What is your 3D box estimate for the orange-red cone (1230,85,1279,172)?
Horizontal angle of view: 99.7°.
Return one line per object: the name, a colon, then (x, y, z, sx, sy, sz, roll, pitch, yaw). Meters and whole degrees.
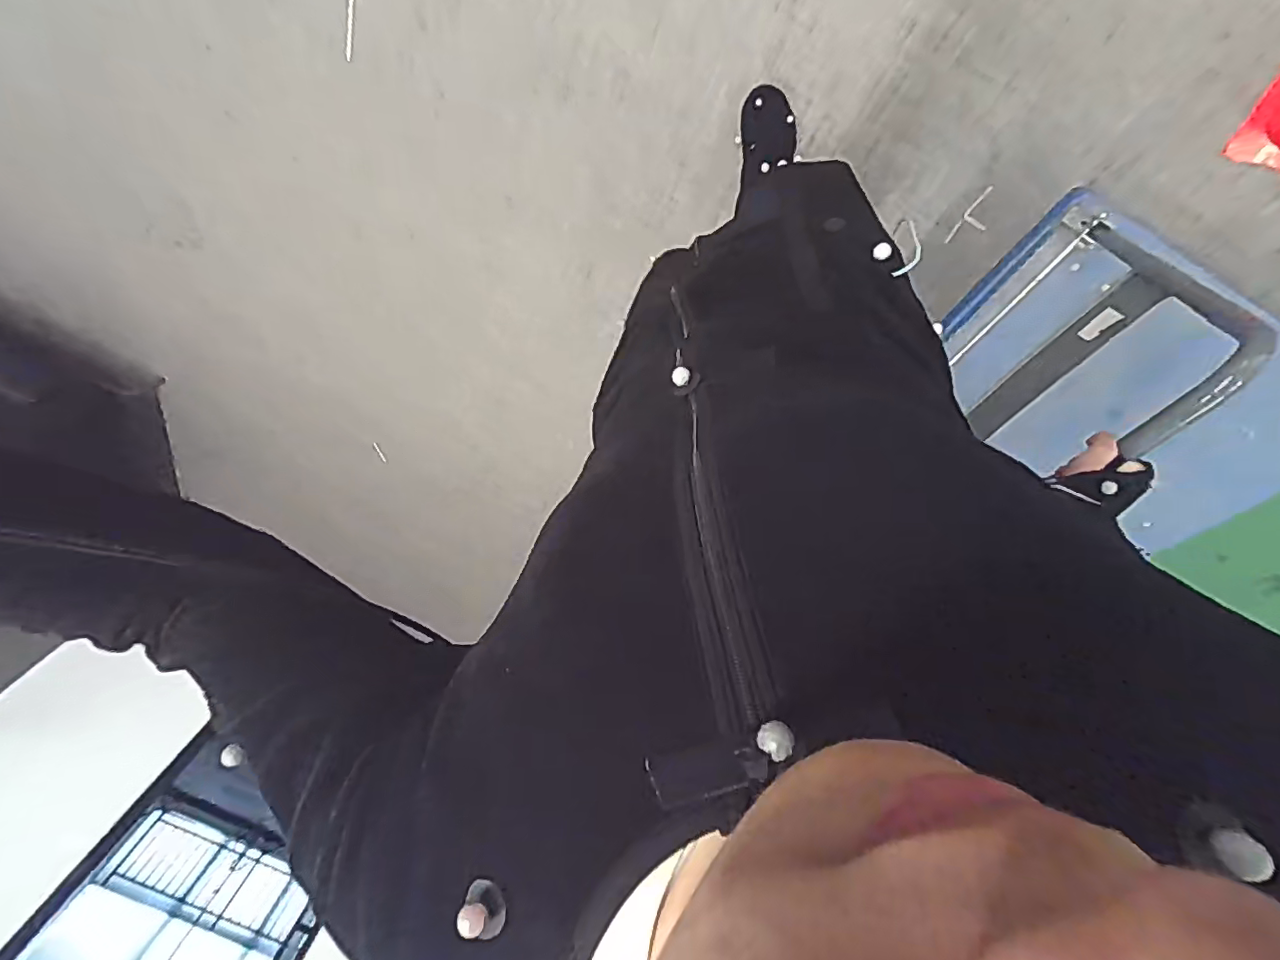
orange-red cone: (1.215, -0.576, 0.862, 0.198, 0.360, 0.199, 17, 129, 4)
